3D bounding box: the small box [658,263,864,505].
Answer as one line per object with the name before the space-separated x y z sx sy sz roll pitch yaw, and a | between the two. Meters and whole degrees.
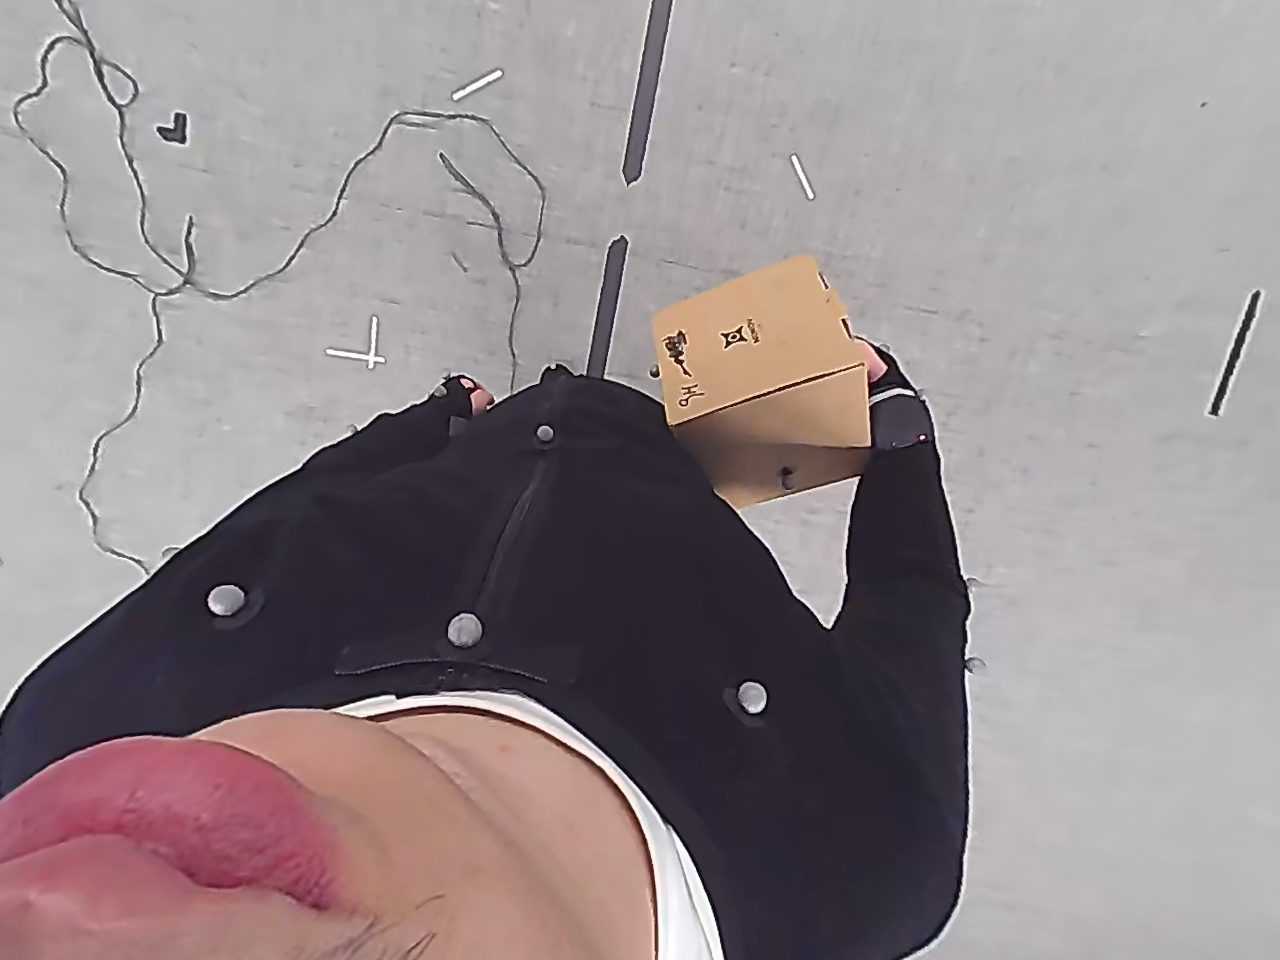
small box | 0.133 -0.096 0.595 0.179 0.168 0.176 -16 141 14
